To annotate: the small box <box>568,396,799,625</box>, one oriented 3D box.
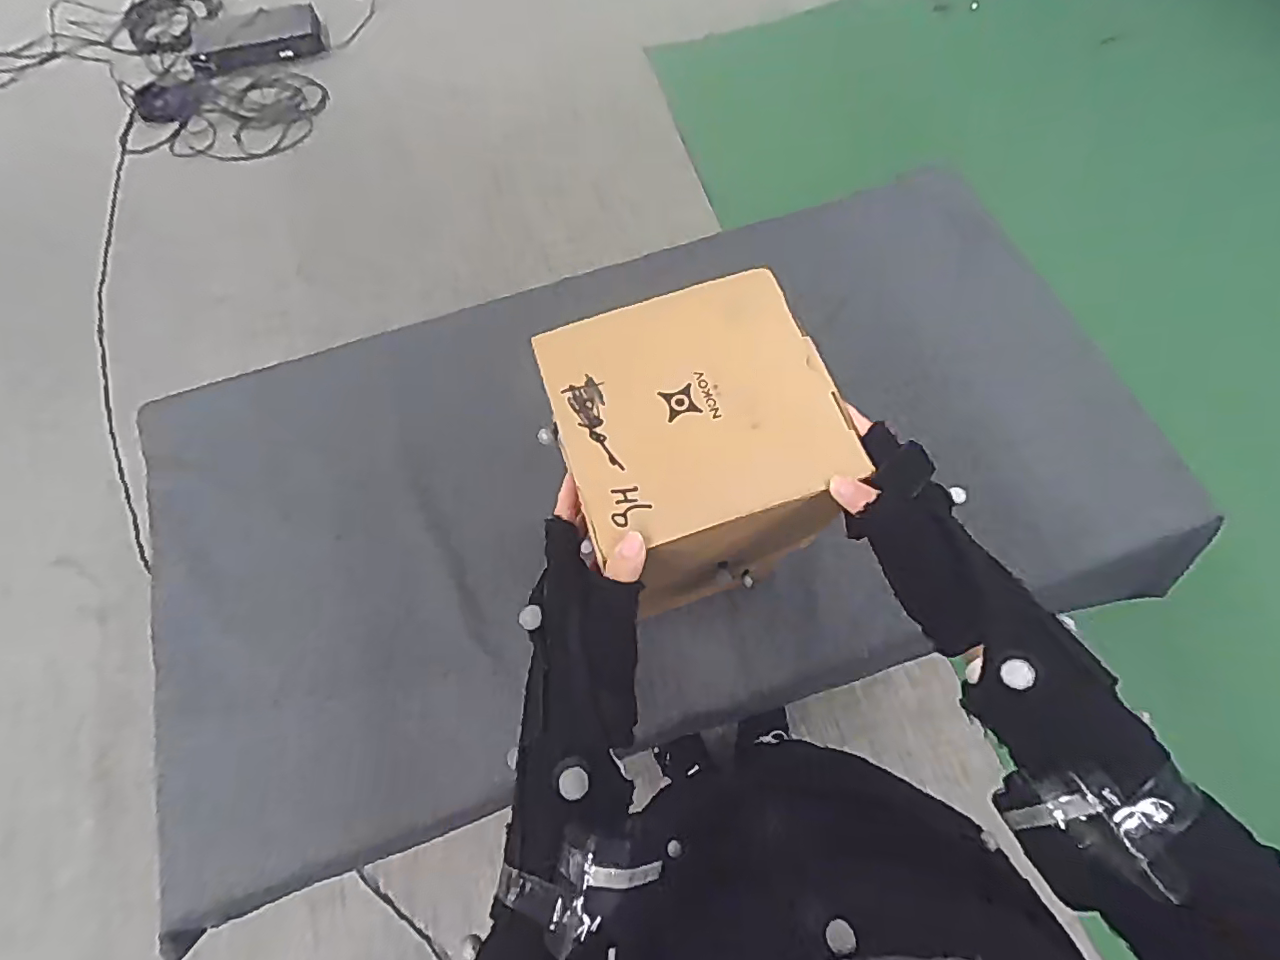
[{"bbox_3d":[0.039,0.042,0.579,0.179,0.176,0.168,-20,68,-5],"label":"small box"}]
